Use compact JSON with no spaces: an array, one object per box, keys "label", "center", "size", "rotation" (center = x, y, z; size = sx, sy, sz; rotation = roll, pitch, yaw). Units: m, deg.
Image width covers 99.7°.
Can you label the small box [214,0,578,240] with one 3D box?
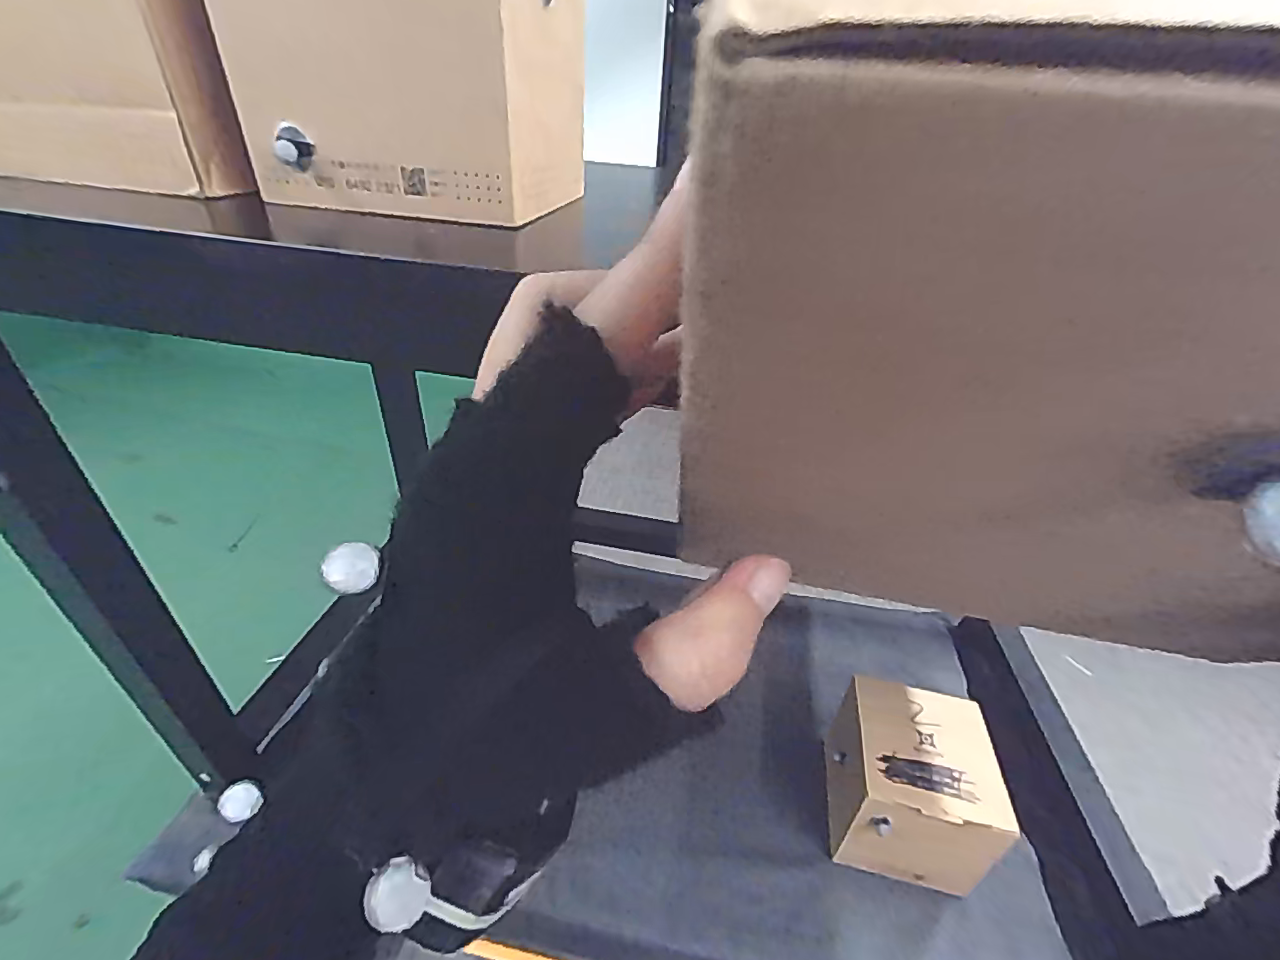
[{"label":"small box","center":[-0.138,-0.267,0.362],"size":[0.168,0.176,0.179],"rotation":[8,33,5]}]

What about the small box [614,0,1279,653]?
[{"label":"small box","center":[0.104,-0.057,0.139],"size":[0.179,0.176,0.168],"rotation":[10,70,8]}]
